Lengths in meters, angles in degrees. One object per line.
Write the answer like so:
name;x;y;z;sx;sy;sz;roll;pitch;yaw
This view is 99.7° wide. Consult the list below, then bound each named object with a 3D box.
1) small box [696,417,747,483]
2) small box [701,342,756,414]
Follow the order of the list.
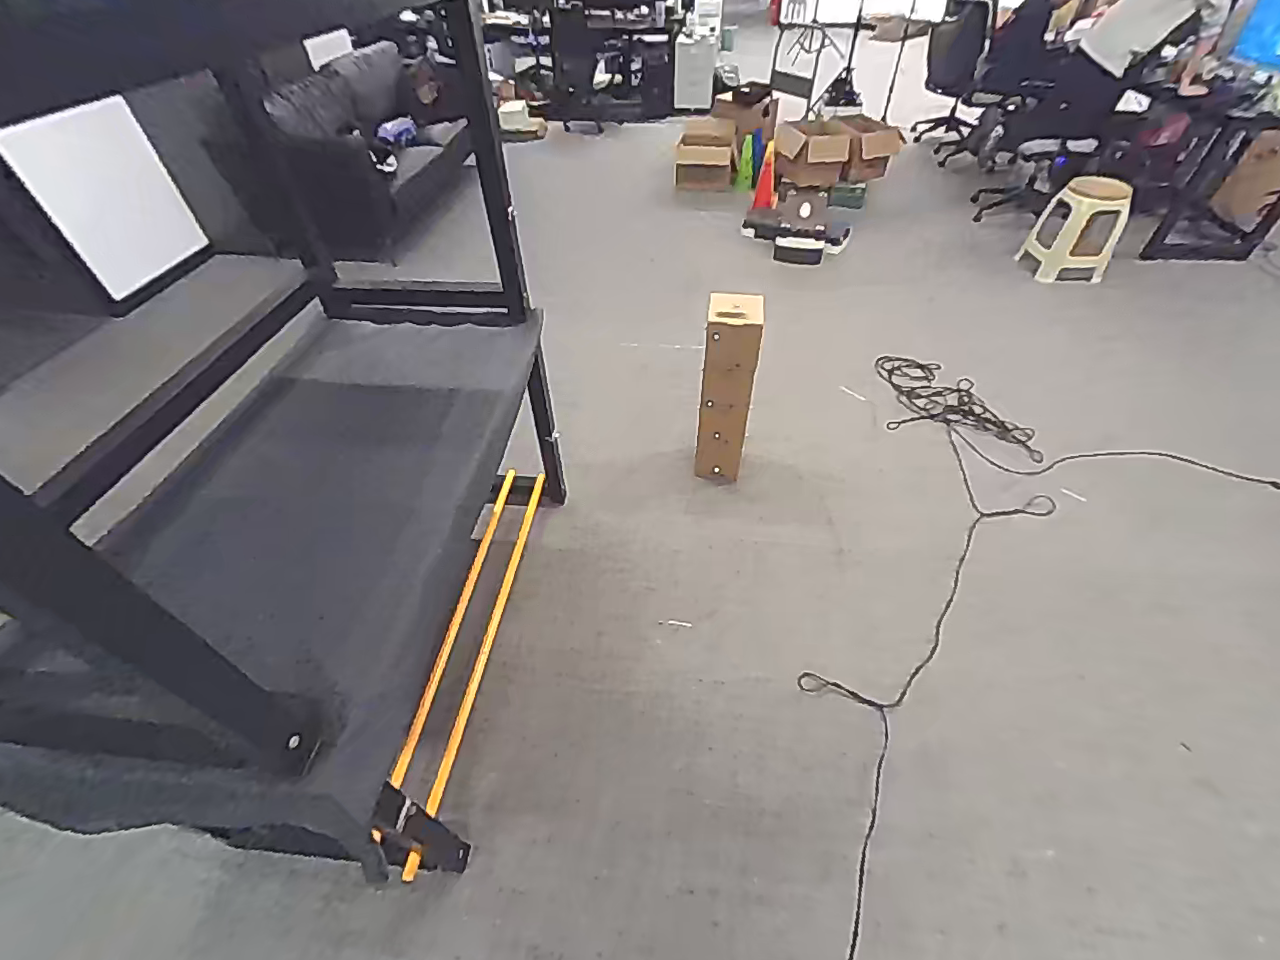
small box;0.308;-0.116;2.061;0.168;0.176;0.179;7;47;10
small box;0.298;-0.343;1.827;0.168;0.176;0.179;6;46;8
